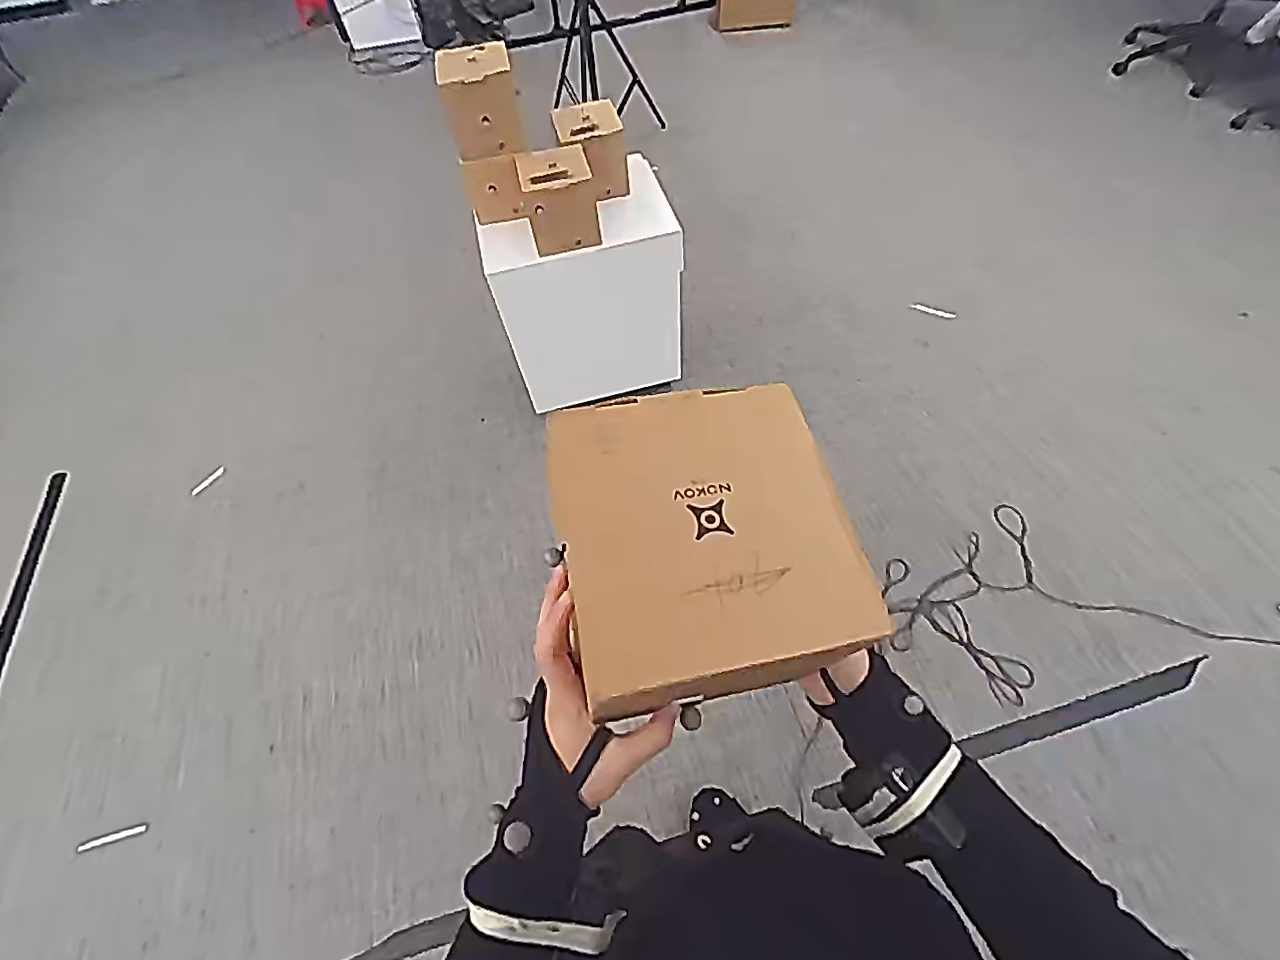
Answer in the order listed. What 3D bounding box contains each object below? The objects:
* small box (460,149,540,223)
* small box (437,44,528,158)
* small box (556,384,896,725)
[{"bbox_3d":[-0.367,-0.803,1.428,0.168,0.176,0.179,-12,58,-3],"label":"small box"},{"bbox_3d":[-0.373,-0.896,1.293,0.168,0.176,0.179,-12,59,-4],"label":"small box"},{"bbox_3d":[0.034,0.058,0.386,0.168,0.176,0.179,-9,62,-11],"label":"small box"}]
